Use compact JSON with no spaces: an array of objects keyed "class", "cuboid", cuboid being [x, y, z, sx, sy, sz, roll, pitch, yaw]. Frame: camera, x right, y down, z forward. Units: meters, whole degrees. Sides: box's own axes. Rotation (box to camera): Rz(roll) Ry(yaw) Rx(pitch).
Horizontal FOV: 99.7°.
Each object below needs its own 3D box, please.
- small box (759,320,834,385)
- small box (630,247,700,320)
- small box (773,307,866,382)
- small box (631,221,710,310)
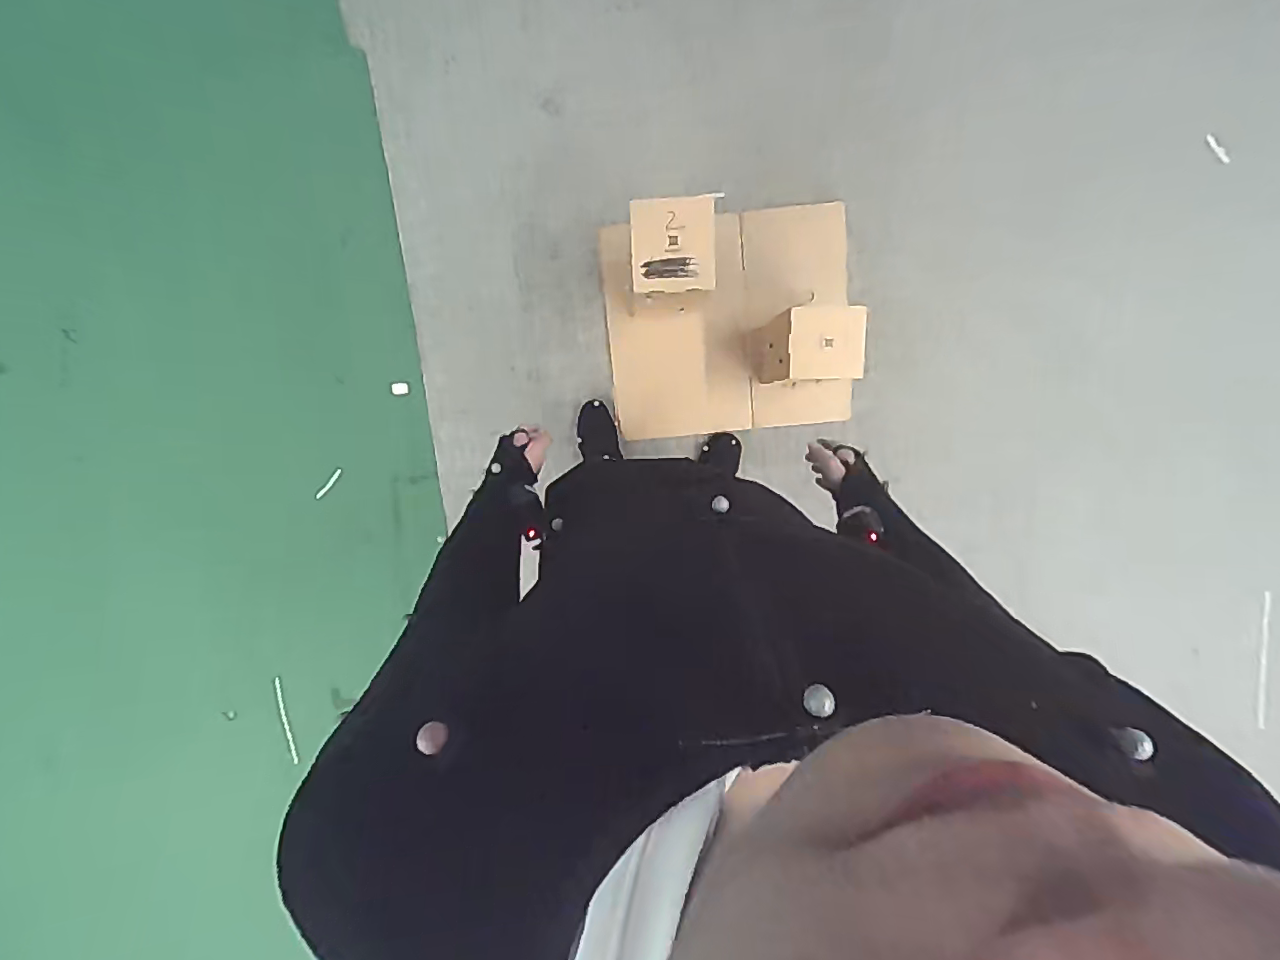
[{"class":"small box","cuboid":[0.434,-0.348,1.486,0.179,0.176,0.168,-3,99,1]},{"class":"small box","cuboid":[0.064,-0.532,1.457,0.179,0.176,0.168,-4,99,1]},{"class":"small box","cuboid":[0.431,-0.325,1.324,0.179,0.176,0.168,0,100,1]},{"class":"small box","cuboid":[0.069,-0.507,1.297,0.179,0.176,0.168,-4,100,1]}]
